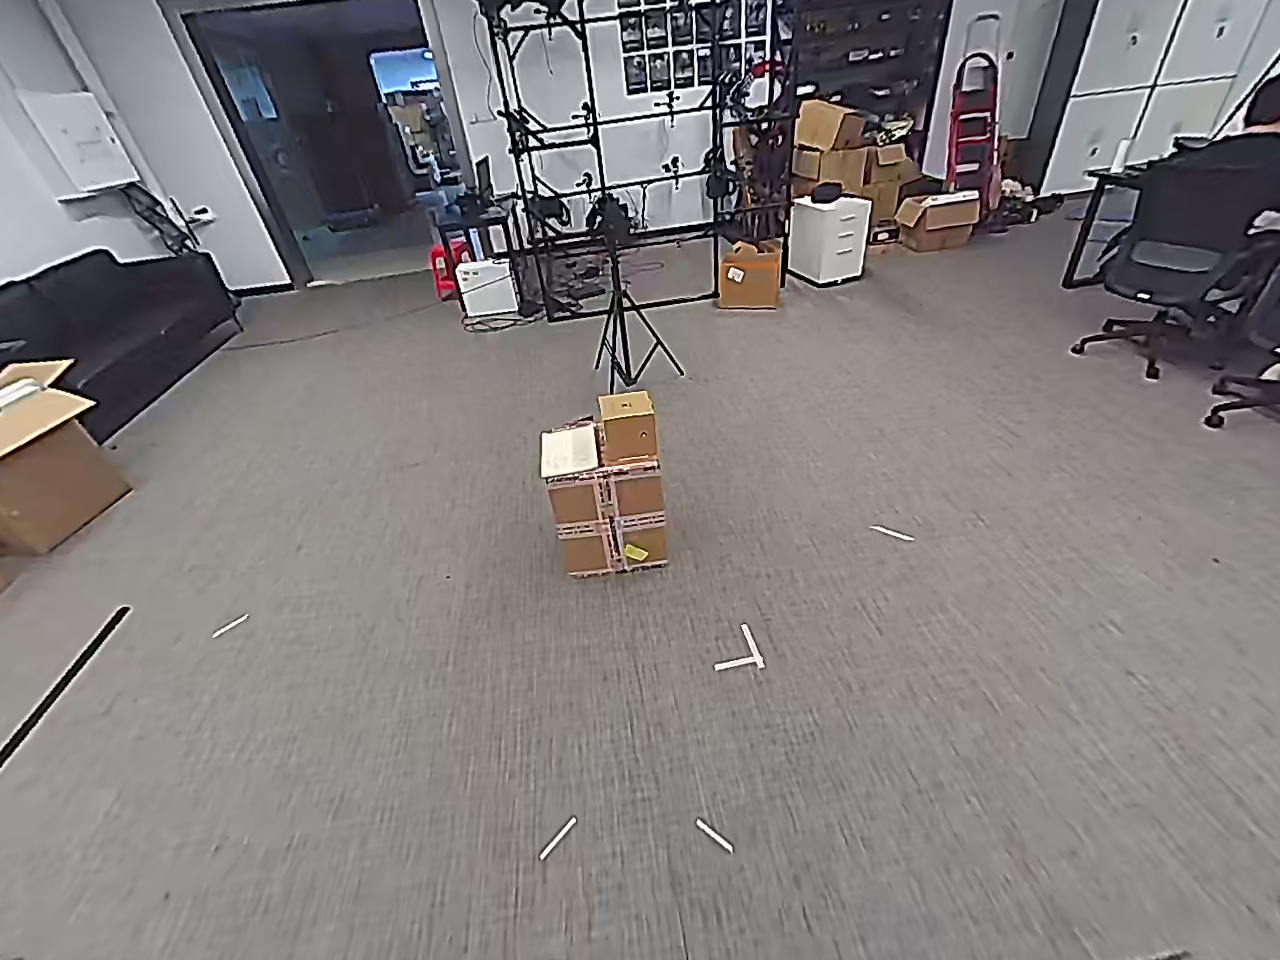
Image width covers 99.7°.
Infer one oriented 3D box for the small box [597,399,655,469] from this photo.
[{"bbox_3d":[-0.046,-0.156,1.871,0.179,0.176,0.168,-9,38,-5],"label":"small box"}]
